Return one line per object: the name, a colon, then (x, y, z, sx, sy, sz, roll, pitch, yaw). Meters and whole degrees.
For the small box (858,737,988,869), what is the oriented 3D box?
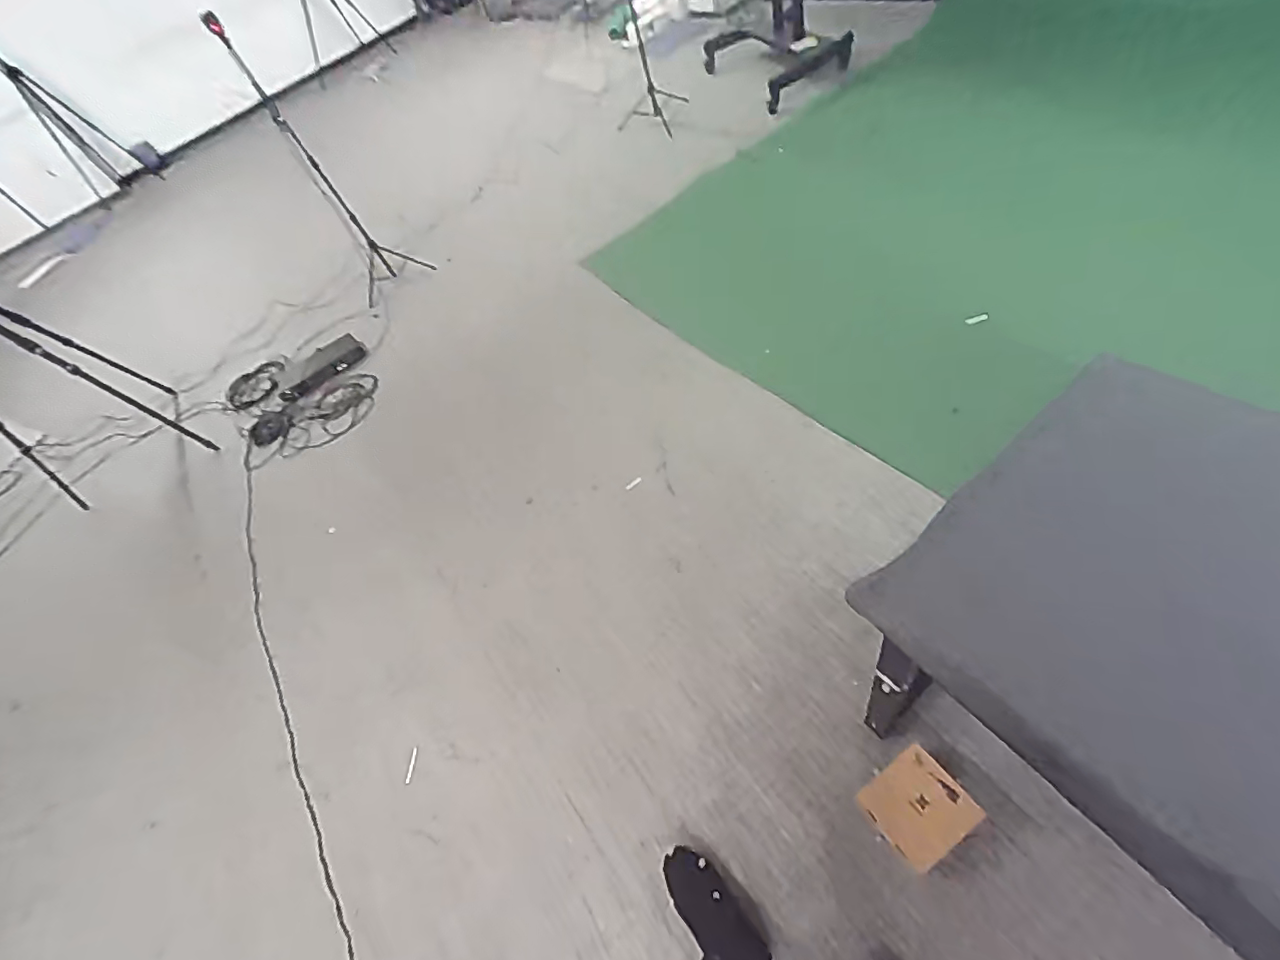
small box: (0.583, 0.681, 1.135, 0.179, 0.176, 0.168, -36, 52, -8)
